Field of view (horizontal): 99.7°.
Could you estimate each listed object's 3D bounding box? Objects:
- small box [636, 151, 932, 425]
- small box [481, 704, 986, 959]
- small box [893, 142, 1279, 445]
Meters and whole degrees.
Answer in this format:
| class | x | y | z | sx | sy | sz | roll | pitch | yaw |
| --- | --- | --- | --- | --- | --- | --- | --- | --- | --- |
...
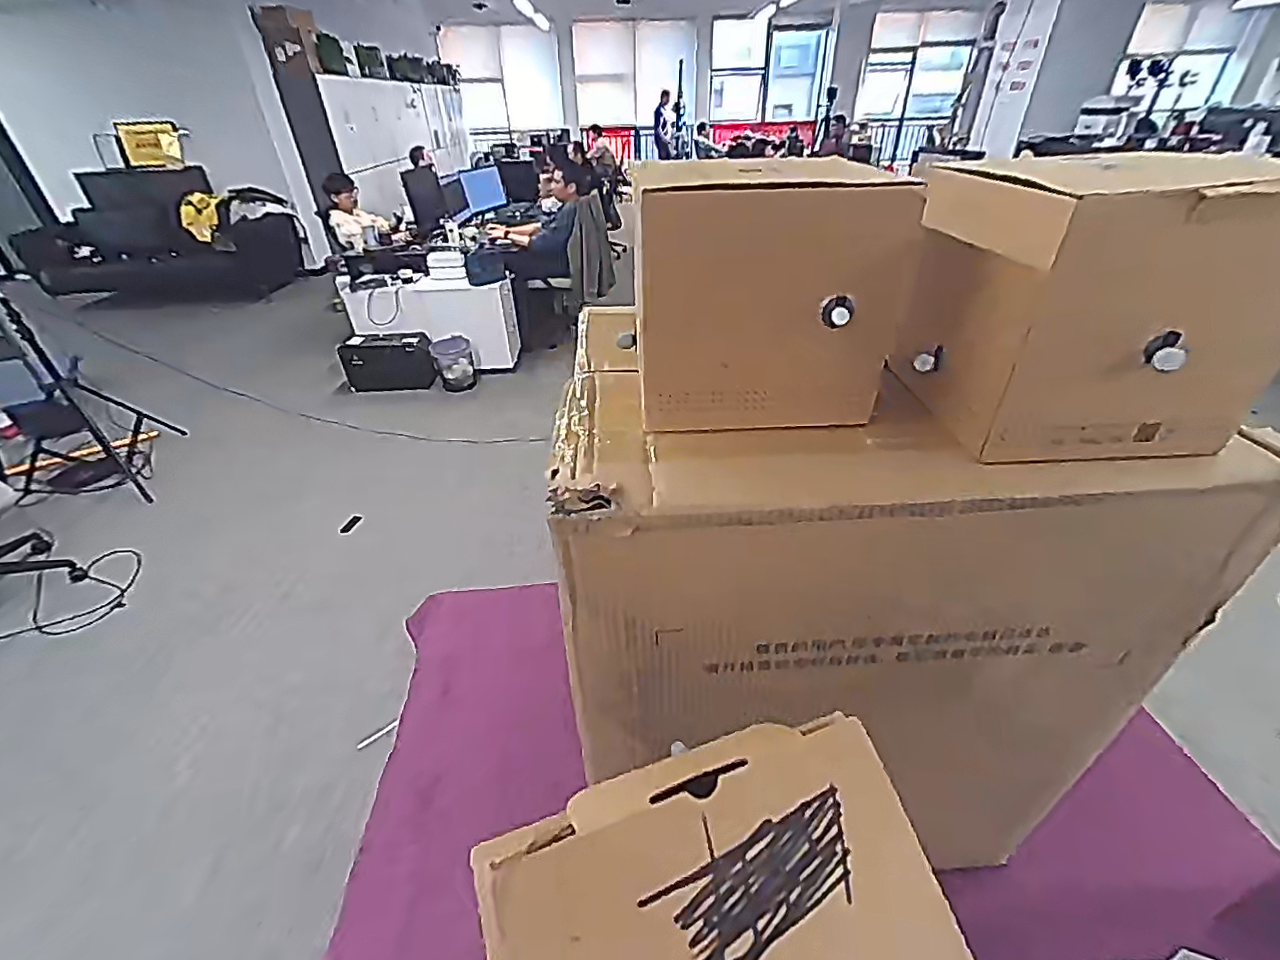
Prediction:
| class | x | y | z | sx | sy | sz | roll | pitch | yaw |
| --- | --- | --- | --- | --- | --- | --- | --- | --- | --- |
| small box | 0.087 | -0.154 | 0.428 | 0.179 | 0.176 | 0.168 | -3 | 34 | -1 |
| small box | 0.030 | 0.227 | 0.240 | 0.168 | 0.176 | 0.179 | -8 | 61 | -24 |
| small box | 0.309 | -0.134 | 0.390 | 0.168 | 0.176 | 0.179 | -2 | 35 | 1 |
